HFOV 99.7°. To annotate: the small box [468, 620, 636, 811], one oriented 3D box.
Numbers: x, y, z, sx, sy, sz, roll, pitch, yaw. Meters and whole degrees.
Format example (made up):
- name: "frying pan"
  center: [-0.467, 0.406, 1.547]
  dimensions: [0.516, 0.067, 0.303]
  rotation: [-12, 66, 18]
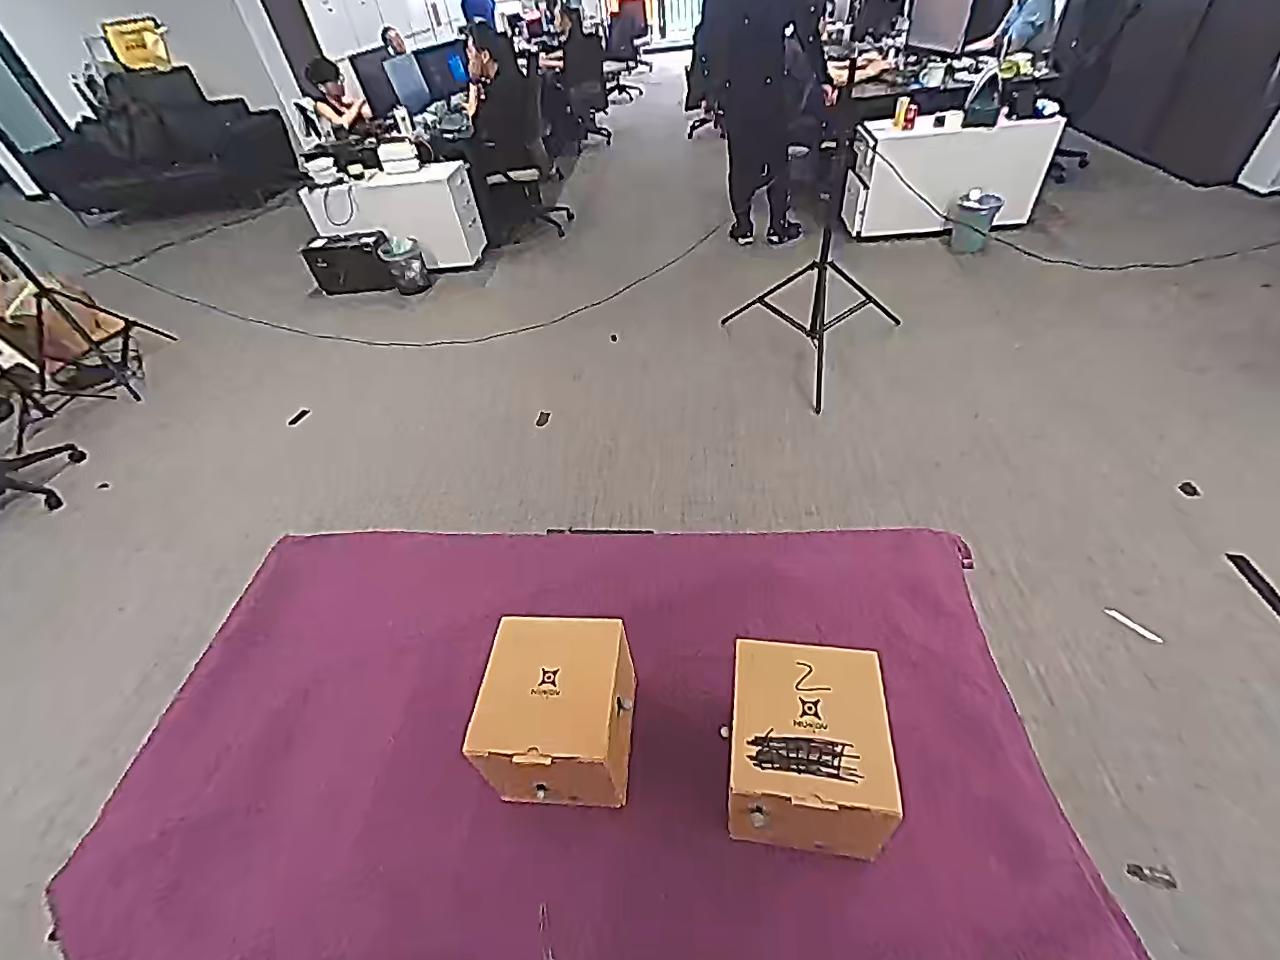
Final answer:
- name: "small box"
  center: [-0.099, 0.305, 0.707]
  dimensions: [0.168, 0.176, 0.179]
  rotation: [-1, 44, 7]
